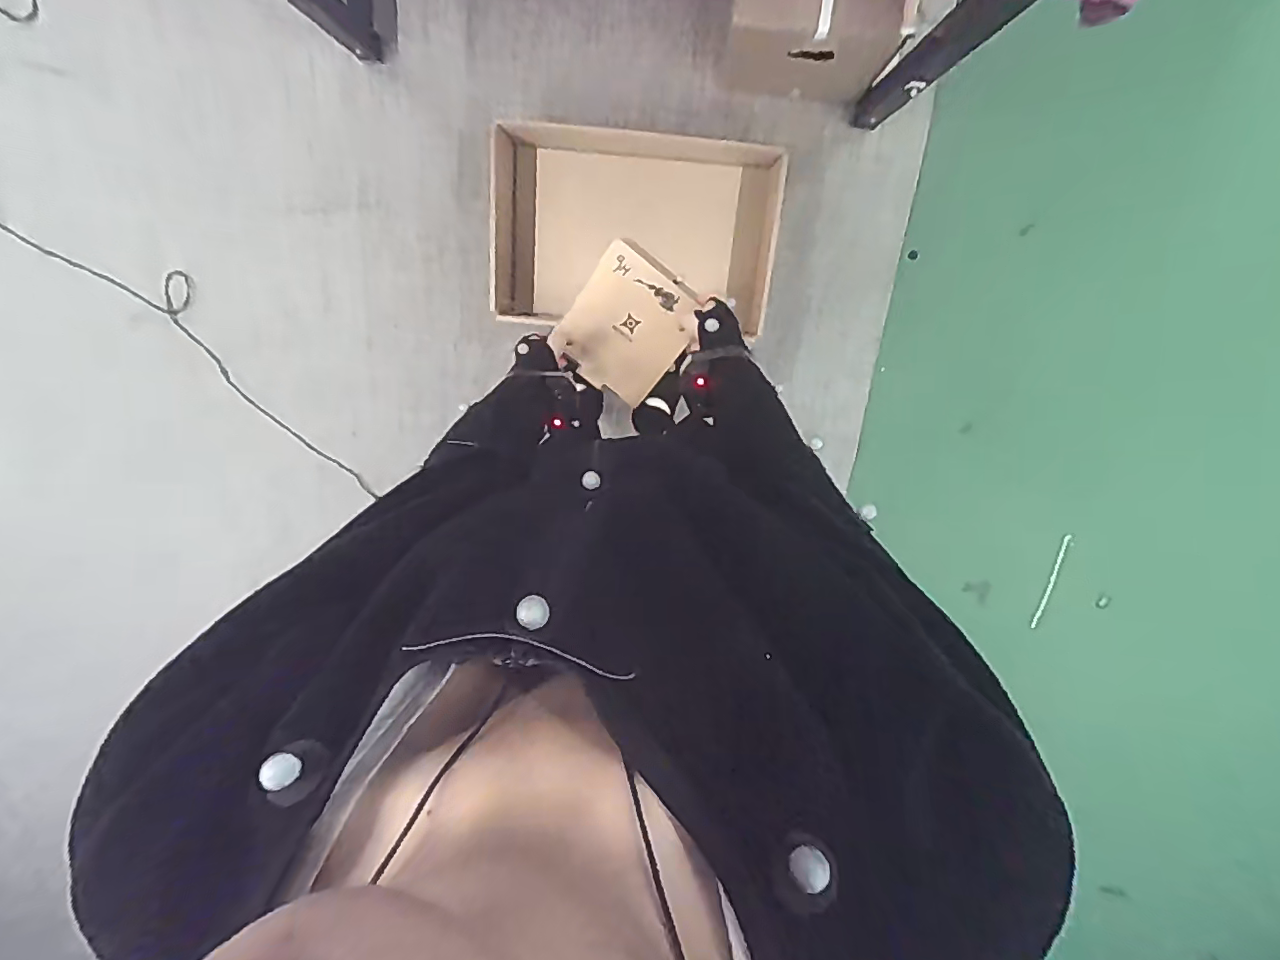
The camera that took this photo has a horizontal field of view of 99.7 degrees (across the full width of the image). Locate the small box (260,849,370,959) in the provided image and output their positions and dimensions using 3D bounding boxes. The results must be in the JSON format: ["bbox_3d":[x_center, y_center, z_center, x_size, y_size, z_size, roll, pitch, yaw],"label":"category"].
[{"bbox_3d":[-0.894,1.185,1.506,0.168,0.176,0.179,38,105,-10],"label":"small box"}]

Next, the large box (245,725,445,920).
[{"bbox_3d":[-0.918,1.081,1.729,0.408,0.320,0.320,35,105,-8],"label":"large box"}]

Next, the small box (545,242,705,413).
[{"bbox_3d":[-0.013,-0.235,0.827,0.168,0.176,0.179,38,111,-9],"label":"small box"}]
